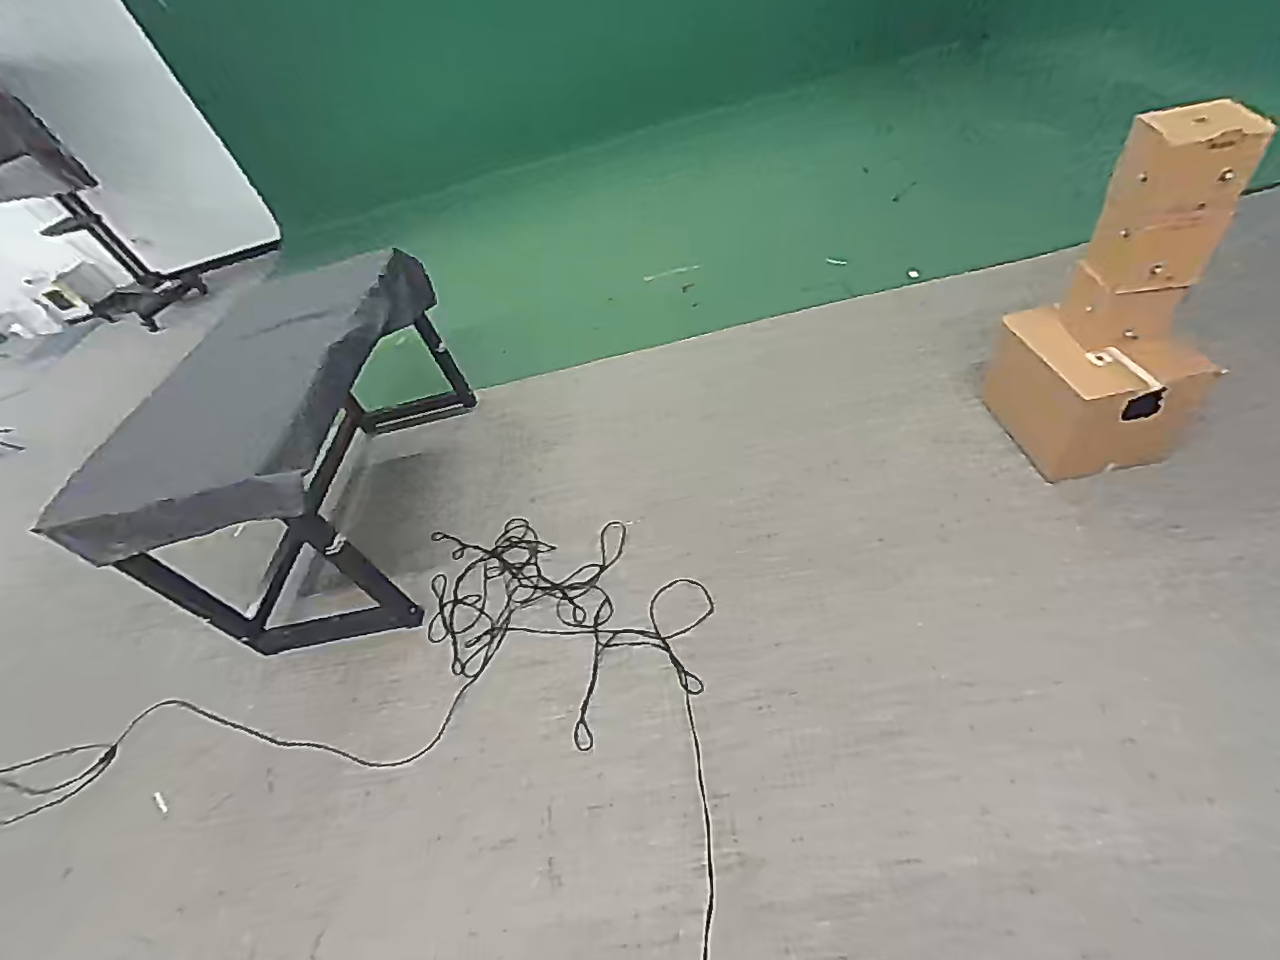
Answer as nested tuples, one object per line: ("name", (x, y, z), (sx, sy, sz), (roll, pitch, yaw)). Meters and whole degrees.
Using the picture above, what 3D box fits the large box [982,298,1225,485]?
("large box", (1.264, -0.253, 1.544), (0.320, 0.320, 0.408), (-13, 46, 8))

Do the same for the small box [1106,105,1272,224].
("small box", (1.164, -0.671, 1.166), (0.168, 0.176, 0.179), (-2, 48, 14))

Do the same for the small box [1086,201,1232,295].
("small box", (1.208, -0.563, 1.280), (0.168, 0.176, 0.179), (-4, 48, 15))
